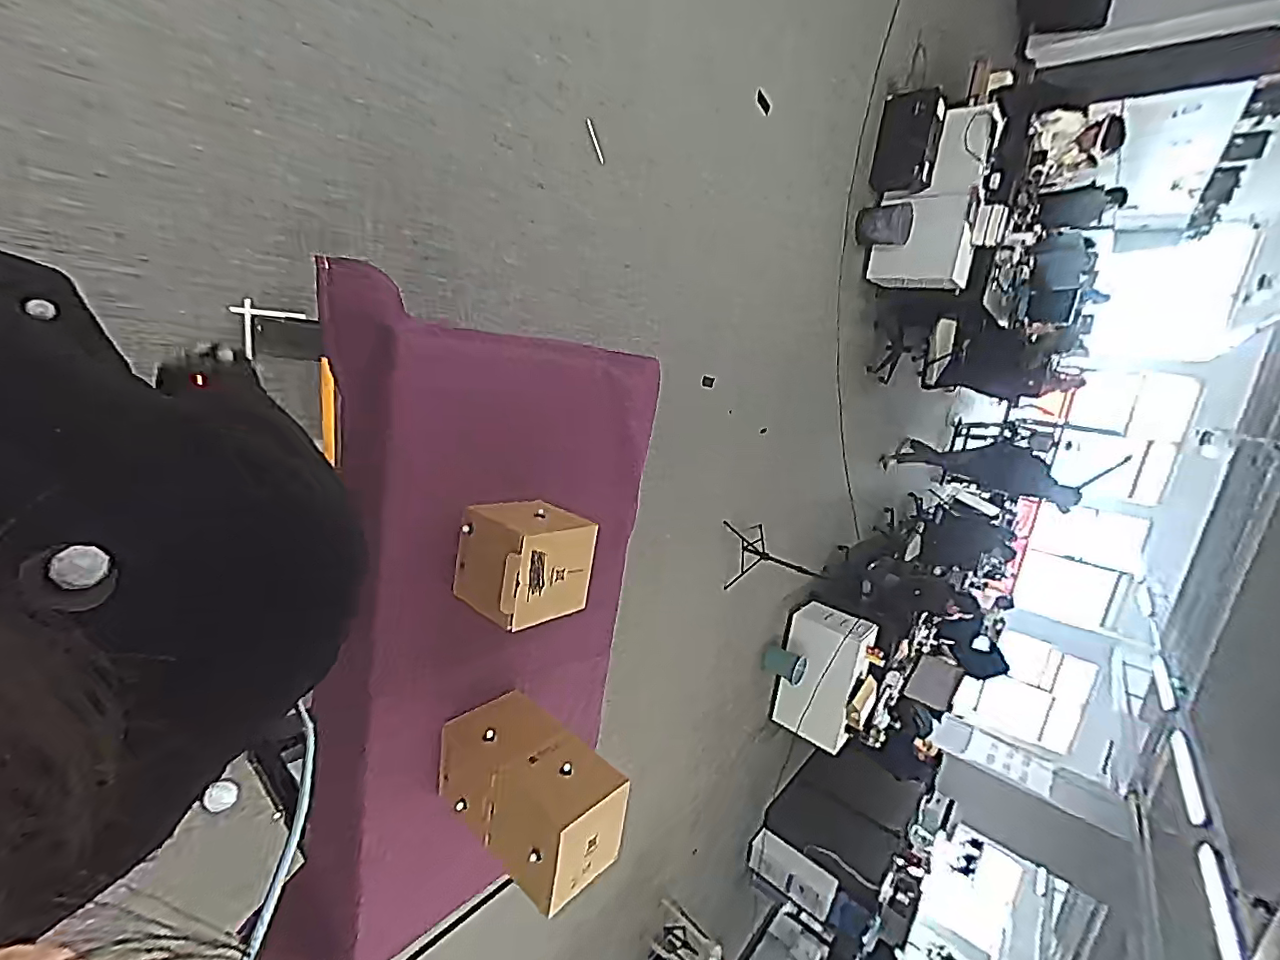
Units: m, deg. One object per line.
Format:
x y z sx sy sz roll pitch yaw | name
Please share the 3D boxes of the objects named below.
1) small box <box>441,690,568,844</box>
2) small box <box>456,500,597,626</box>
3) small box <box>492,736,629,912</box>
-0.269 0.547 1.059 0.179 0.176 0.168 -8 111 -50 | small box
-0.206 0.137 0.970 0.179 0.176 0.168 -3 107 -52 | small box
-0.144 0.589 0.960 0.168 0.176 0.179 -6 109 -50 | small box
